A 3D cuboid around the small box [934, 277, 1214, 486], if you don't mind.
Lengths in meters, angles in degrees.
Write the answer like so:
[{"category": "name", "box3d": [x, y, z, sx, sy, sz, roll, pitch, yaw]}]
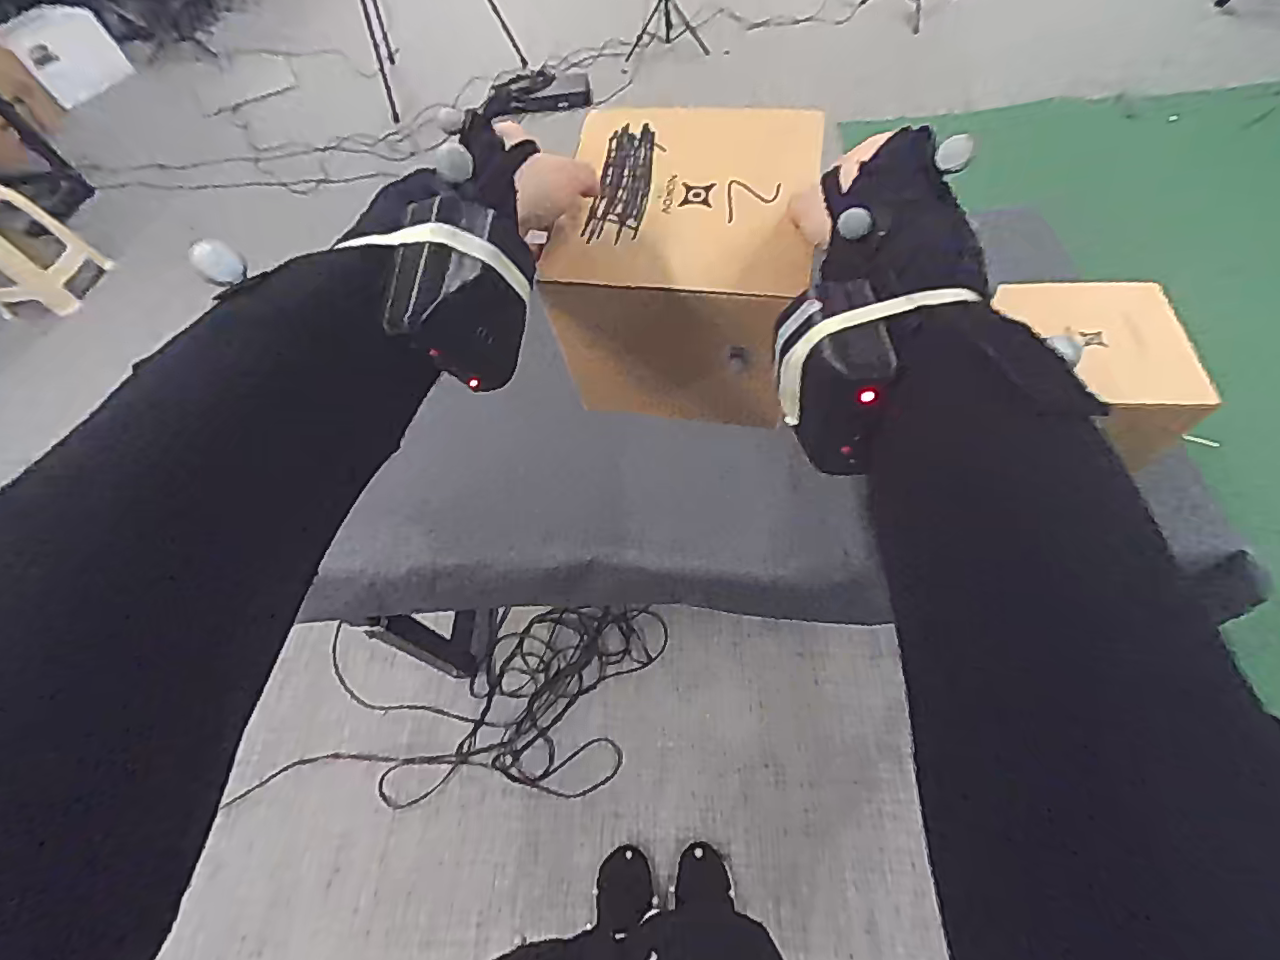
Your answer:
[{"category": "small box", "box3d": [0.453, -0.104, 0.608, 0.179, 0.176, 0.168, 3, 60, 9]}]
